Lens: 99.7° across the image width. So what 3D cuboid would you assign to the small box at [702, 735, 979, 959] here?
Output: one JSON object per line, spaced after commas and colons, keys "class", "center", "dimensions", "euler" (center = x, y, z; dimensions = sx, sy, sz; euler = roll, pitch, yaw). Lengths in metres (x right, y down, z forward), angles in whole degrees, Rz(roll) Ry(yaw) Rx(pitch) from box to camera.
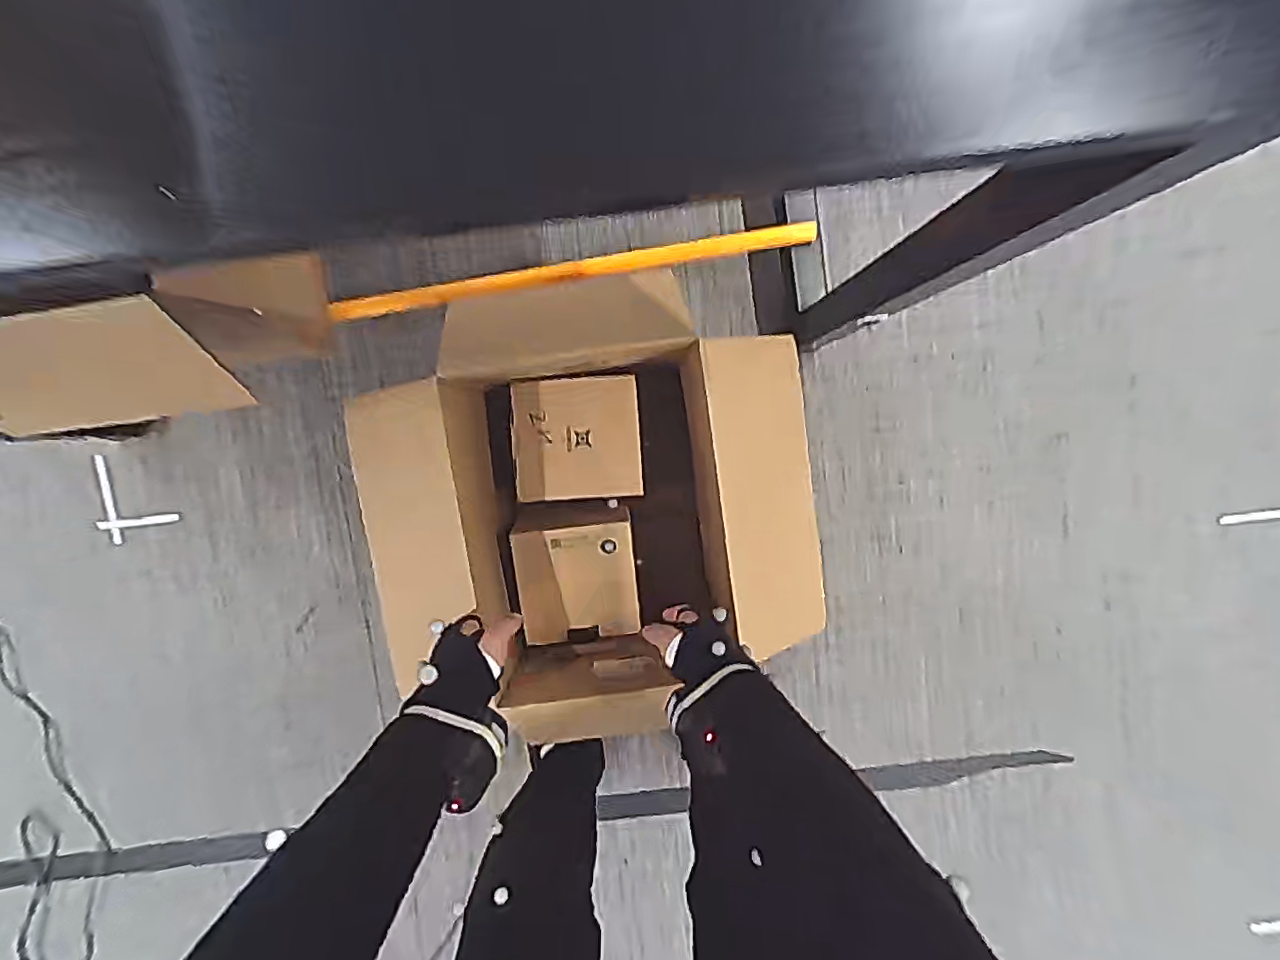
{"class": "small box", "center": [0.143, 0.304, 0.426], "dimensions": [0.176, 0.179, 0.168], "euler": [2, 63, 13]}
